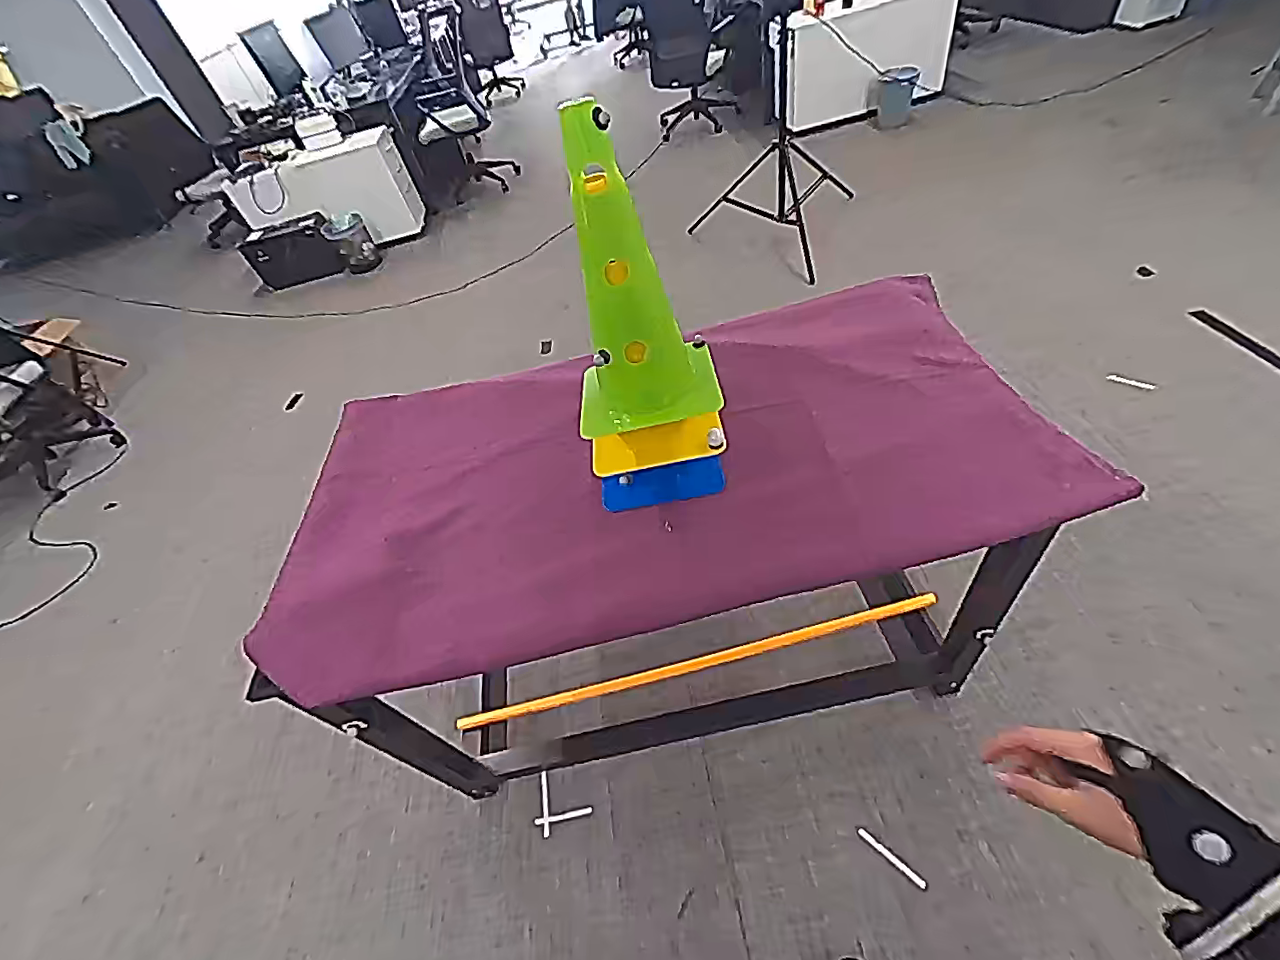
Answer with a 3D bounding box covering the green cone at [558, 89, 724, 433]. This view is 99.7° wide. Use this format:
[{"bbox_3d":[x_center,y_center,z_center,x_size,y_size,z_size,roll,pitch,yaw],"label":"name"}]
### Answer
[{"bbox_3d":[-0.029,-0.269,0.679,0.200,0.368,0.202,-13,41,6],"label":"green cone"}]
